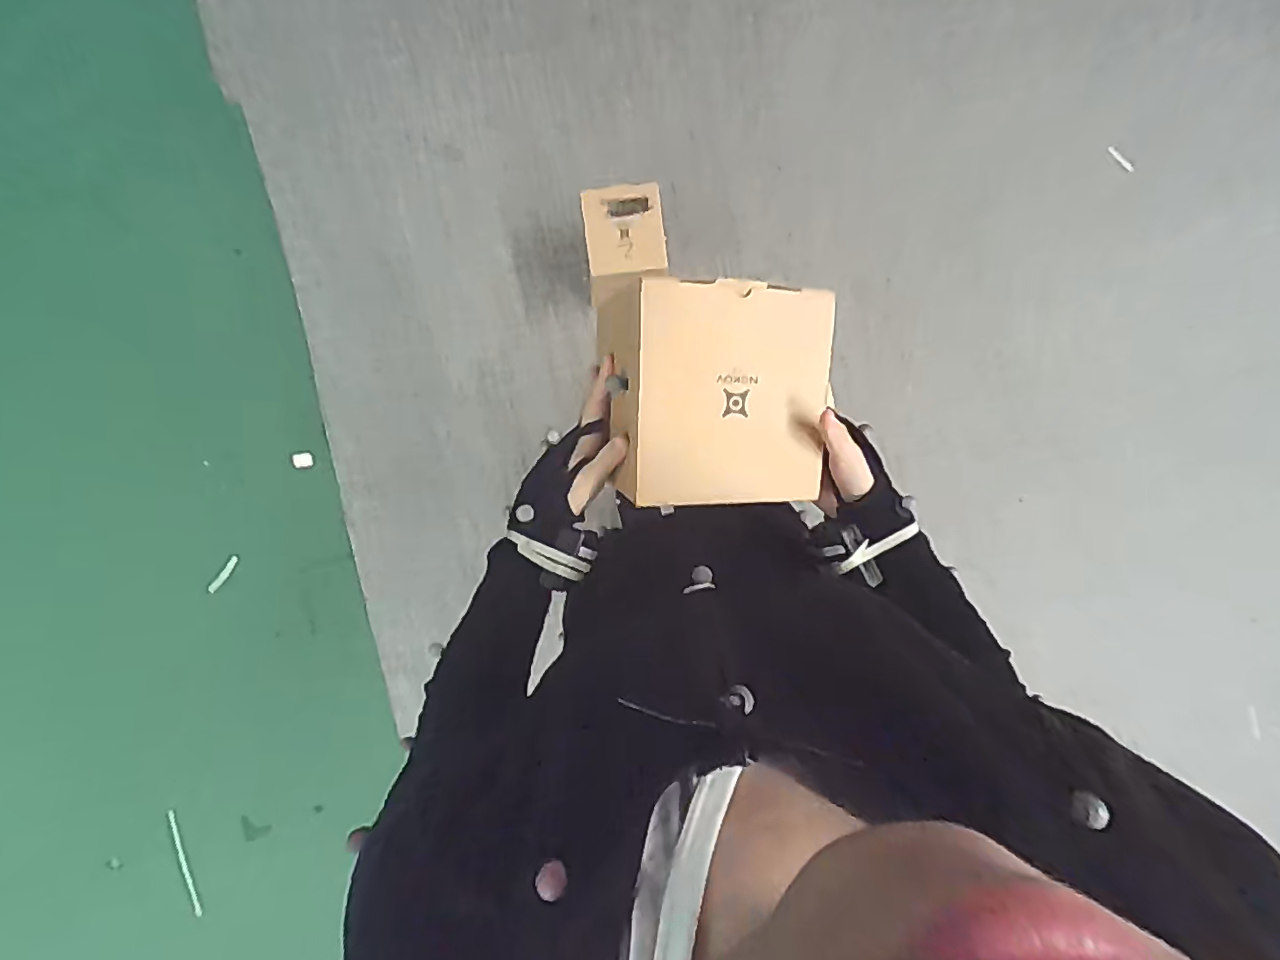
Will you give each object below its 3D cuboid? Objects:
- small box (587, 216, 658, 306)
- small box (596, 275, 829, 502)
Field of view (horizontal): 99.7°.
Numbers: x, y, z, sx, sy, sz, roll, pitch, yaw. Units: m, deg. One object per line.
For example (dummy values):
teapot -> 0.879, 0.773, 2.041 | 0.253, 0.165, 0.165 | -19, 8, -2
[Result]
small box -> -0.043, -0.543, 1.363 | 0.168, 0.176, 0.179 | -5, 95, -3
small box -> 0.054, -0.083, 0.513 | 0.168, 0.176, 0.179 | -1, 100, -15
